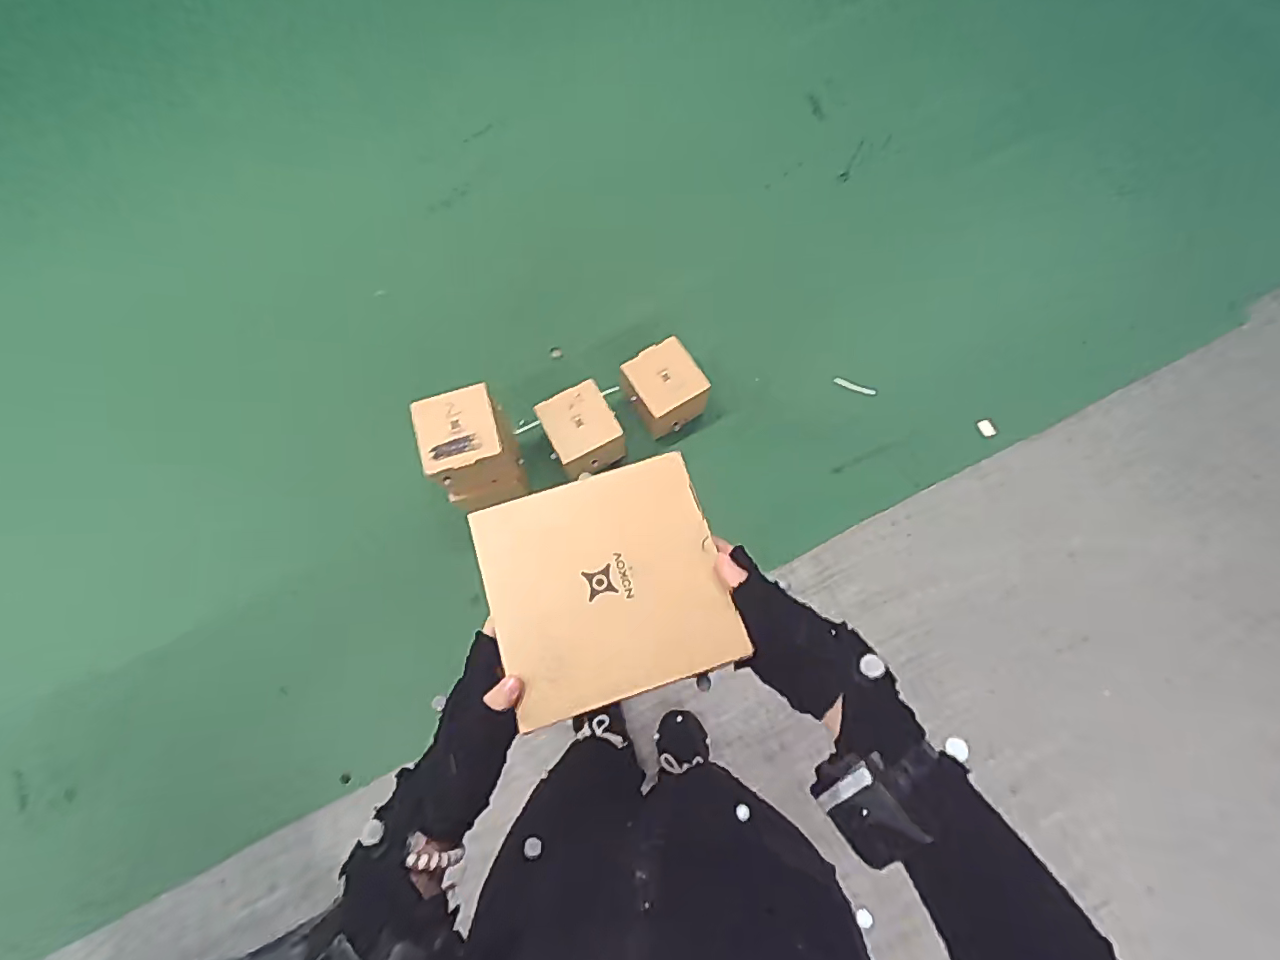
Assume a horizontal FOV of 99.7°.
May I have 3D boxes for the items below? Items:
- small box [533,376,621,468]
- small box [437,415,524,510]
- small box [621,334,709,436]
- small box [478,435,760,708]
[{"bbox_3d":[-0.157,-0.133,1.402,0.168,0.176,0.179,-27,75,-9],"label":"small box"},{"bbox_3d":[-0.395,-0.040,1.370,0.168,0.176,0.179,-15,76,-5],"label":"small box"},{"bbox_3d":[0.059,-0.248,1.442,0.168,0.176,0.179,-30,76,-9],"label":"small box"},{"bbox_3d":[-0.020,0.086,0.470,0.179,0.176,0.168,-16,73,-7],"label":"small box"}]
